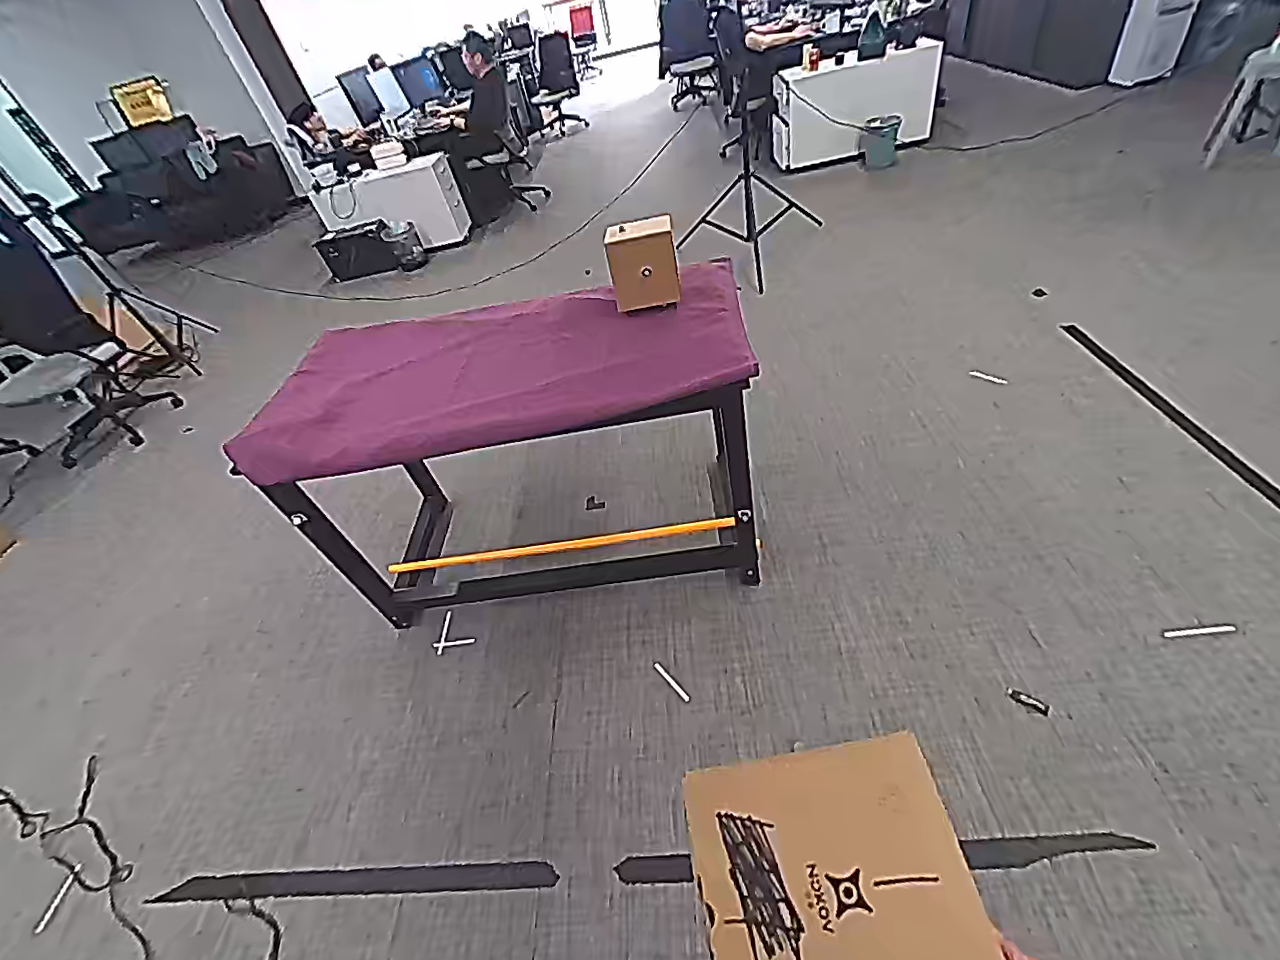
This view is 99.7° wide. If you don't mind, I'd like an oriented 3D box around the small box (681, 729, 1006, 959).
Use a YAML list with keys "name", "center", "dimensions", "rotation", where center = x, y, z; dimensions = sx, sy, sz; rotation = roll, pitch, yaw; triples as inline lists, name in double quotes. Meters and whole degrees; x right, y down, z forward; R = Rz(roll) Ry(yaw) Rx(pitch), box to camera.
- name: "small box"
  center: [0.142, 0.307, 0.417]
  dimensions: [0.179, 0.176, 0.168]
  rotation: [-14, 55, 5]
